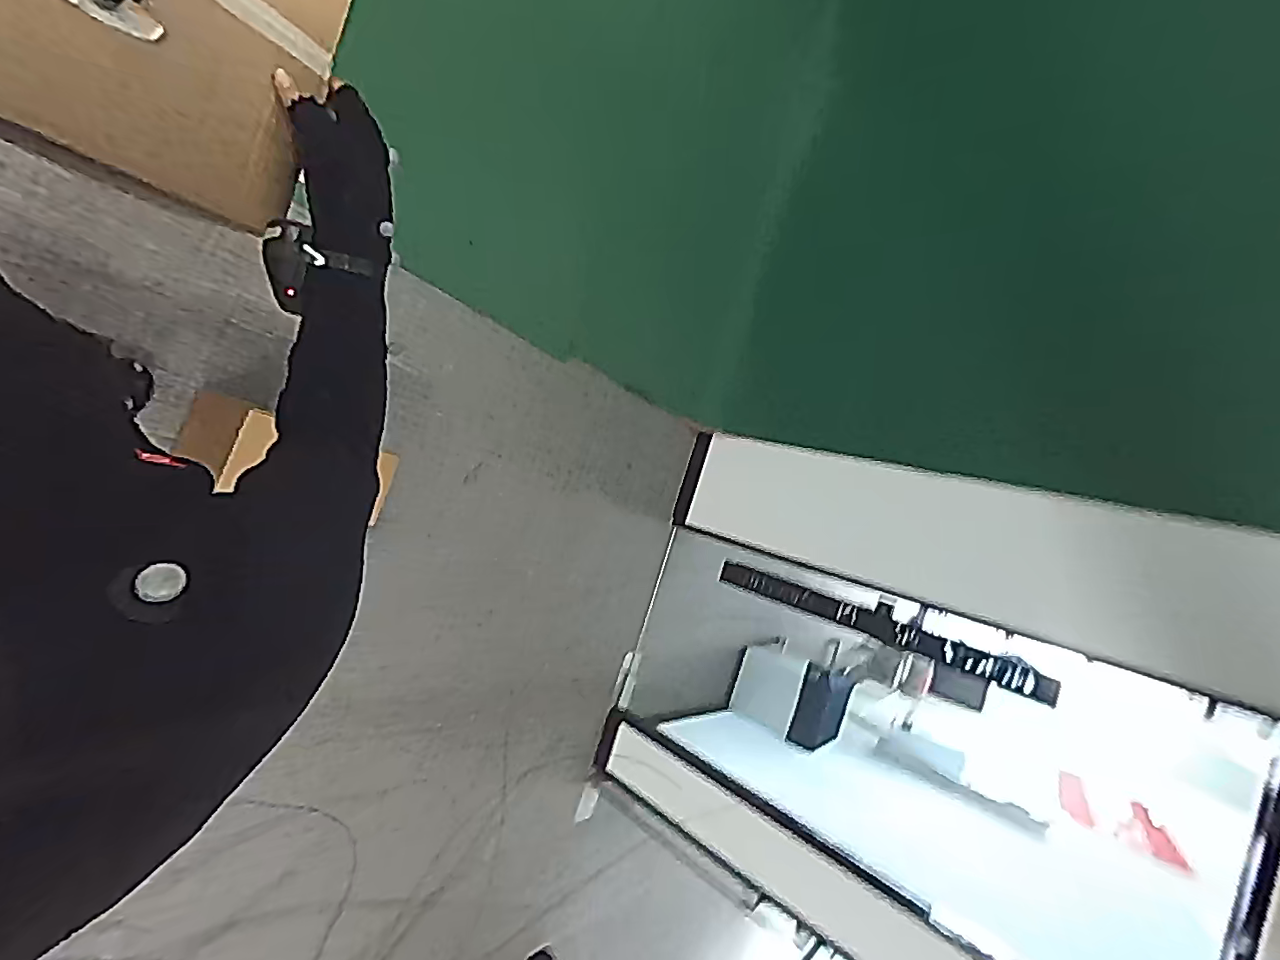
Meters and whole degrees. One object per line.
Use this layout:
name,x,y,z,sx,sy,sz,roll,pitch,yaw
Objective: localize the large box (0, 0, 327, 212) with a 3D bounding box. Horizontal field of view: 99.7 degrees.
large box,-0.501,-0.446,0.379,0.408,0.320,0.320,12,101,-56
